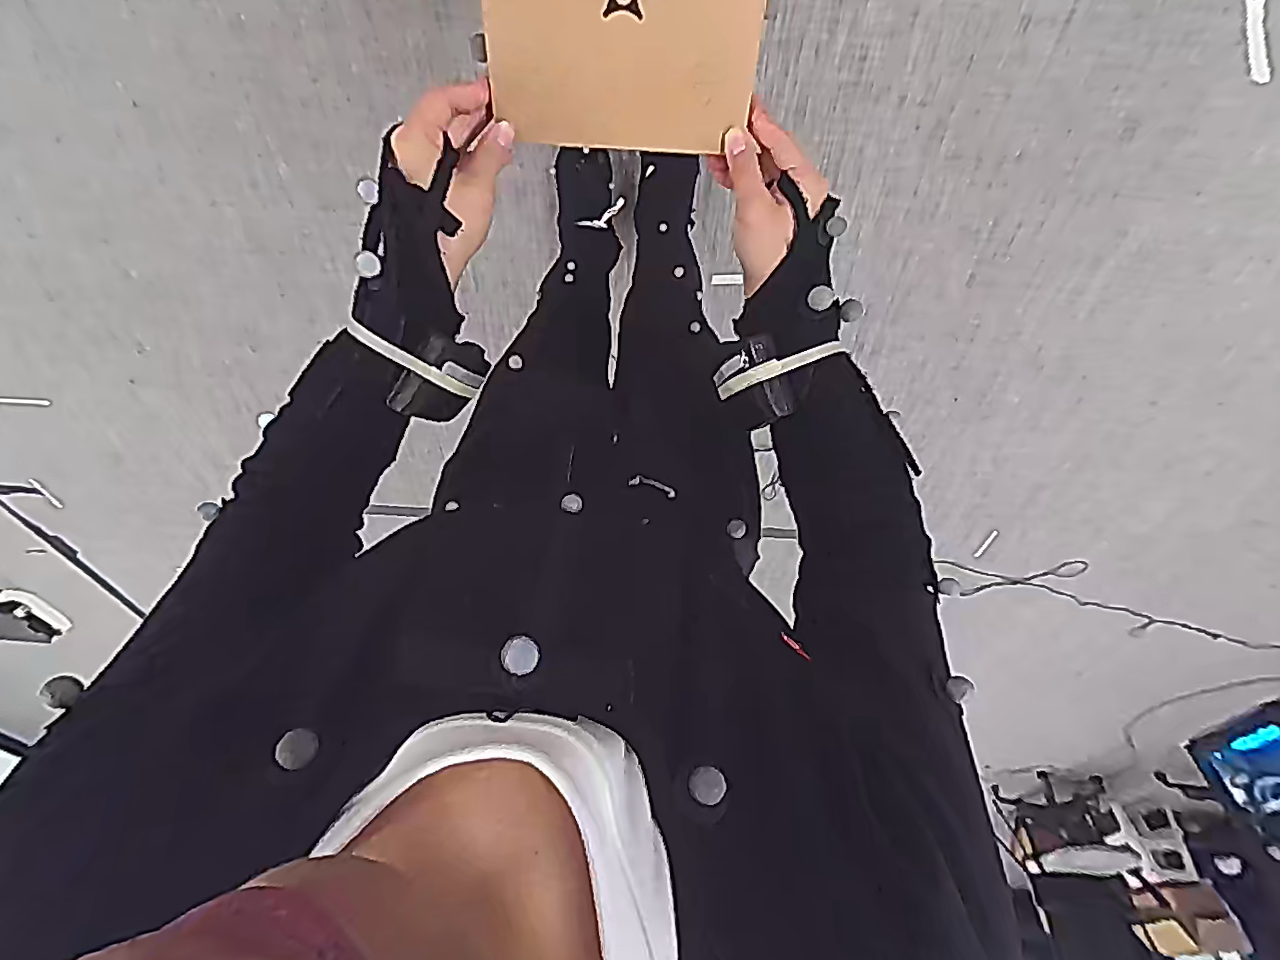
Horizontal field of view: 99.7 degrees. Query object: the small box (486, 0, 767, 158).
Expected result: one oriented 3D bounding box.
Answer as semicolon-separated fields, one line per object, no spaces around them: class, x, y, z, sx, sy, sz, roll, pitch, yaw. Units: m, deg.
small box;-0.009;-0.340;0.364;0.168;0.176;0.179;1;132;-4
